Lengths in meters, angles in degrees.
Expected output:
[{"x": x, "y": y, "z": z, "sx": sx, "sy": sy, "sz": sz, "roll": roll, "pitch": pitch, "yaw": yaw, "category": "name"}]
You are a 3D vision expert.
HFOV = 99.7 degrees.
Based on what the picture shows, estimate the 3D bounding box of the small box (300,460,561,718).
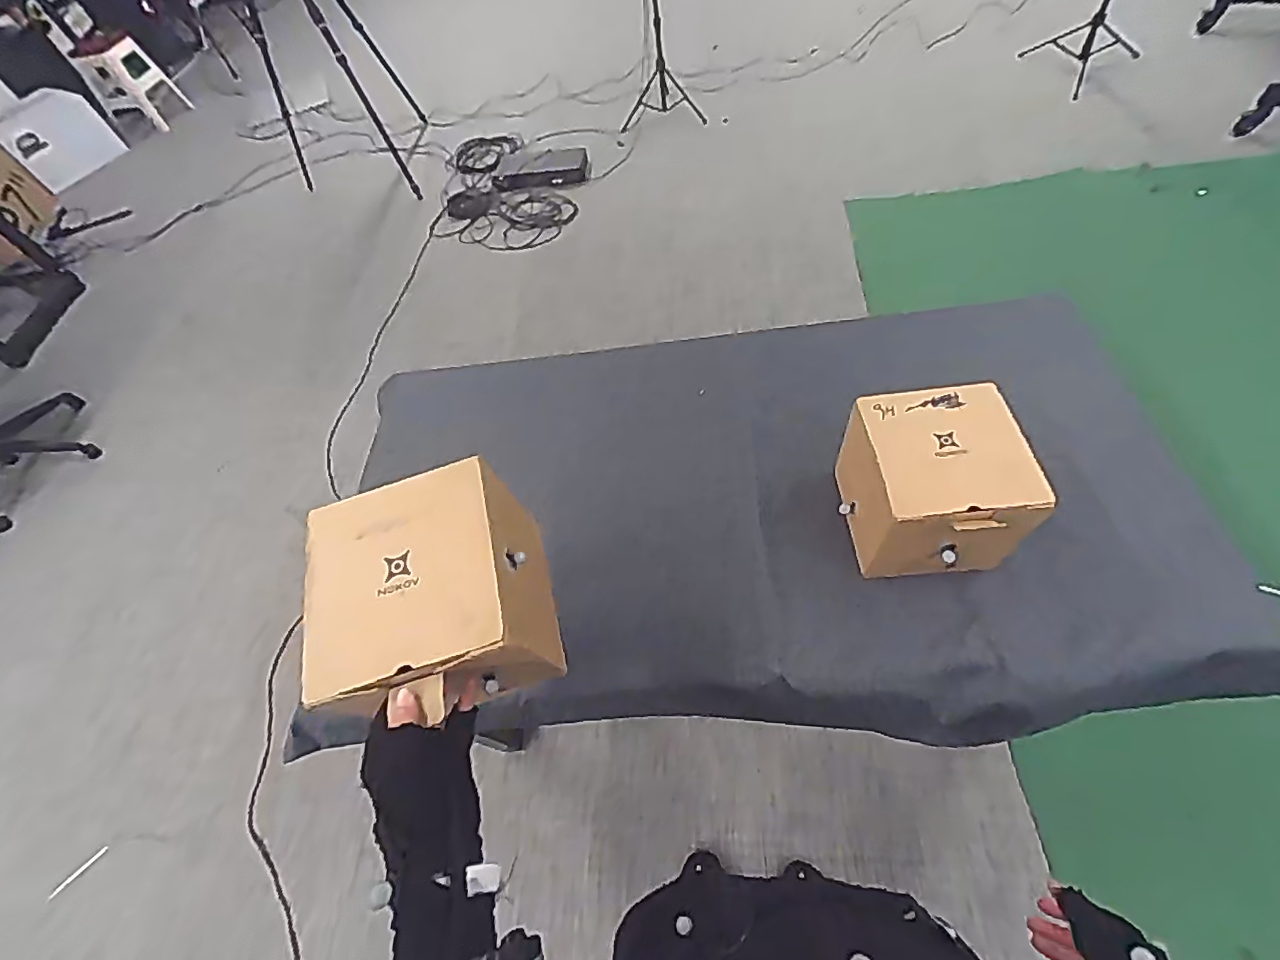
[{"x": -0.186, "y": 0.114, "z": 0.513, "sx": 0.168, "sy": 0.176, "sz": 0.179, "roll": -18, "pitch": 60, "yaw": 0, "category": "small box"}]

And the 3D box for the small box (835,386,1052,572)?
[{"x": 0.360, "y": 0.009, "z": 0.683, "sx": 0.168, "sy": 0.176, "sz": 0.179, "roll": -5, "pitch": 58, "yaw": 4, "category": "small box"}]
